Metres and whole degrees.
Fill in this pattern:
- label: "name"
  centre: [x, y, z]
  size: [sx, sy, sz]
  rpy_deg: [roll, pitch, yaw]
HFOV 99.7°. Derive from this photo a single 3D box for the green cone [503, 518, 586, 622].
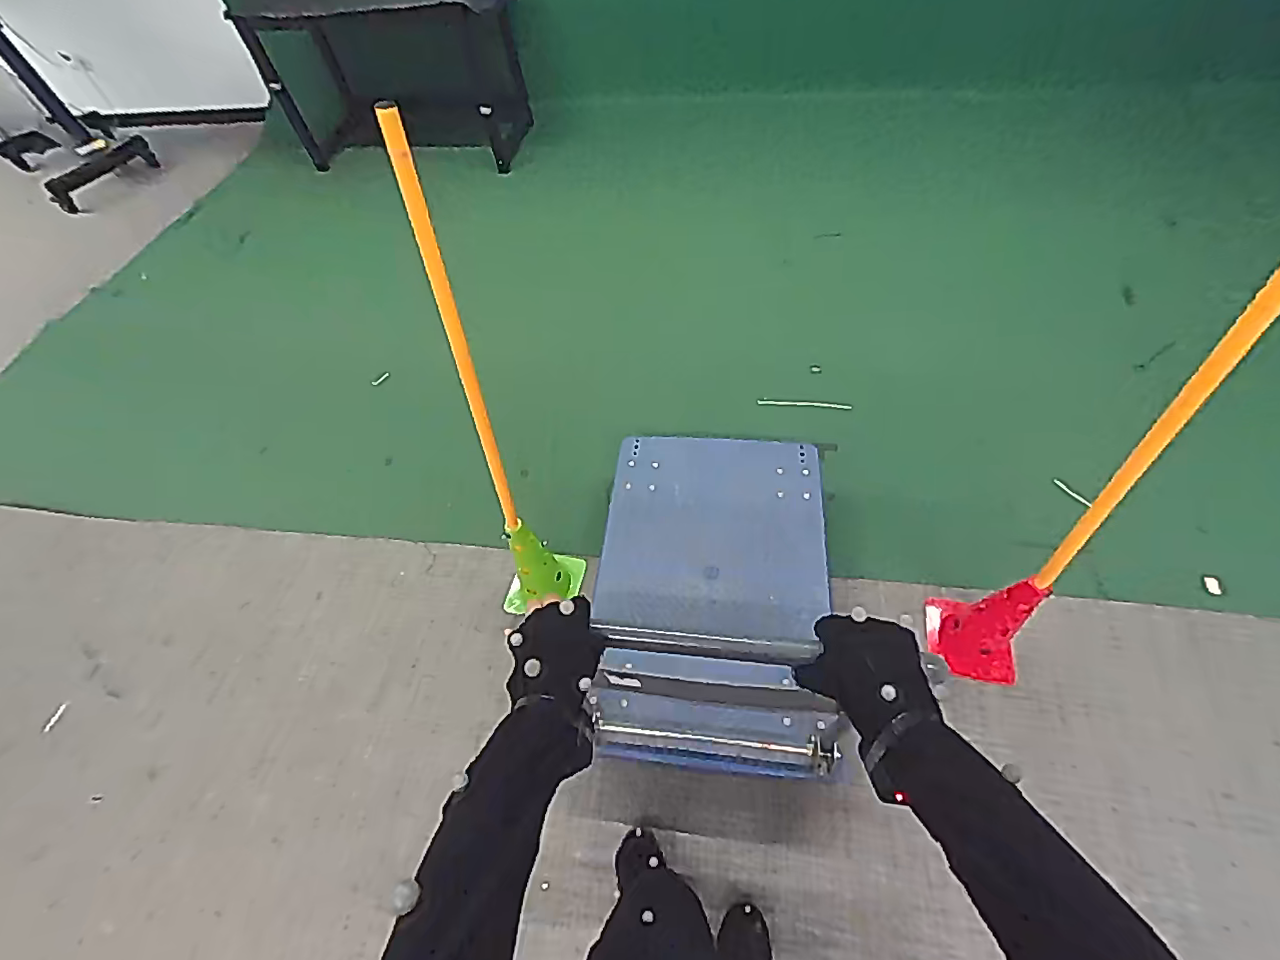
- label: "green cone"
  centre: [-0.288, 0.209, 1.438]
  size: [0.202, 0.368, 0.200]
  rpy_deg: [8, 56, 12]
